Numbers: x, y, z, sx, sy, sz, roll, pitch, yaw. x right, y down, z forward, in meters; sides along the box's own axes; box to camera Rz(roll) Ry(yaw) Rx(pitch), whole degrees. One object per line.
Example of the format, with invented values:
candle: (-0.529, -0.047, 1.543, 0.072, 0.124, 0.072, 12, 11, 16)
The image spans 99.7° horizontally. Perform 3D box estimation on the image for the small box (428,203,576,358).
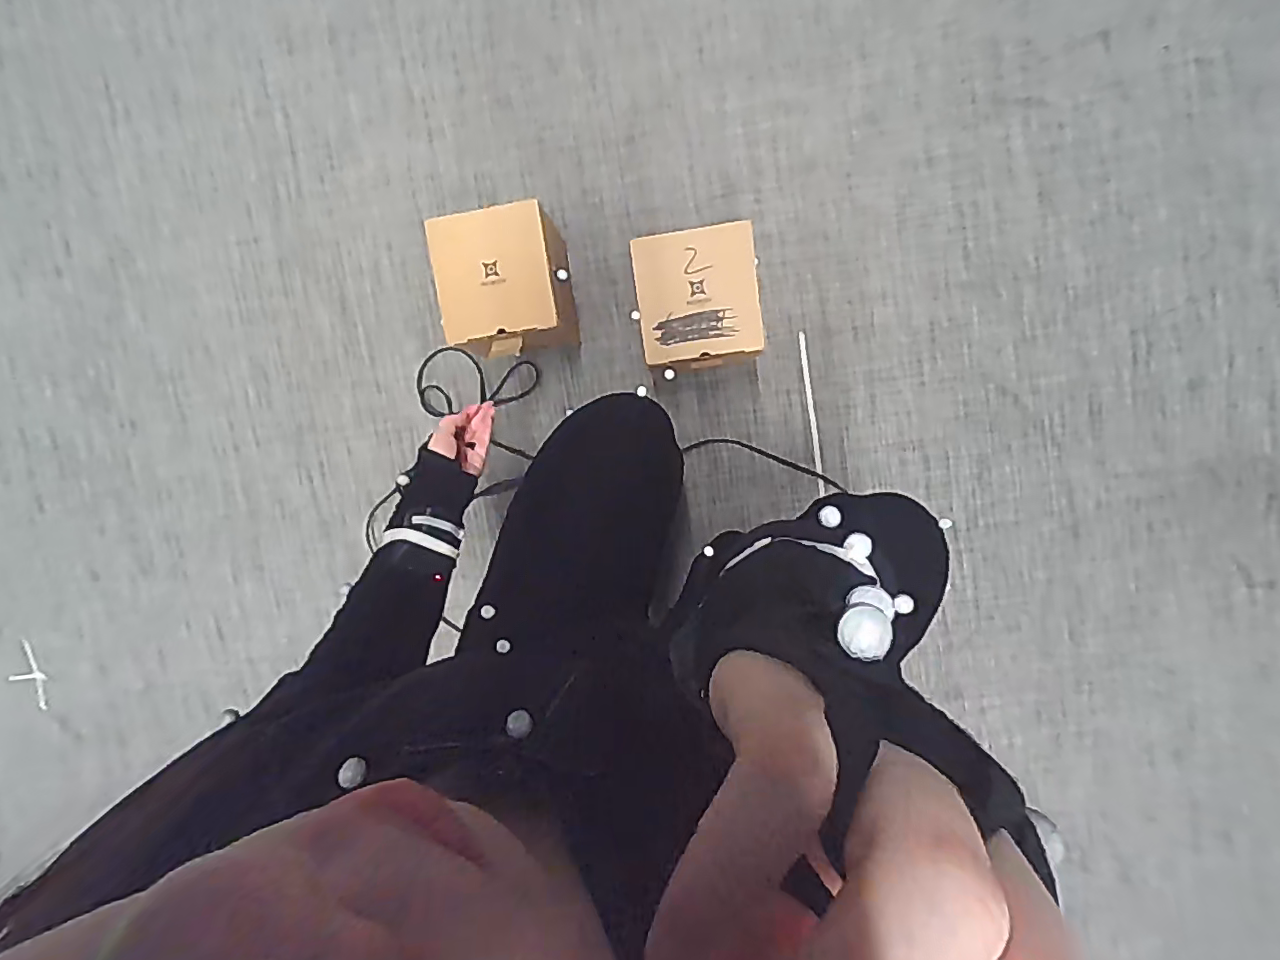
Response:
small box: (-0.203, -0.297, 0.839, 0.168, 0.176, 0.179, -8, 95, 5)
